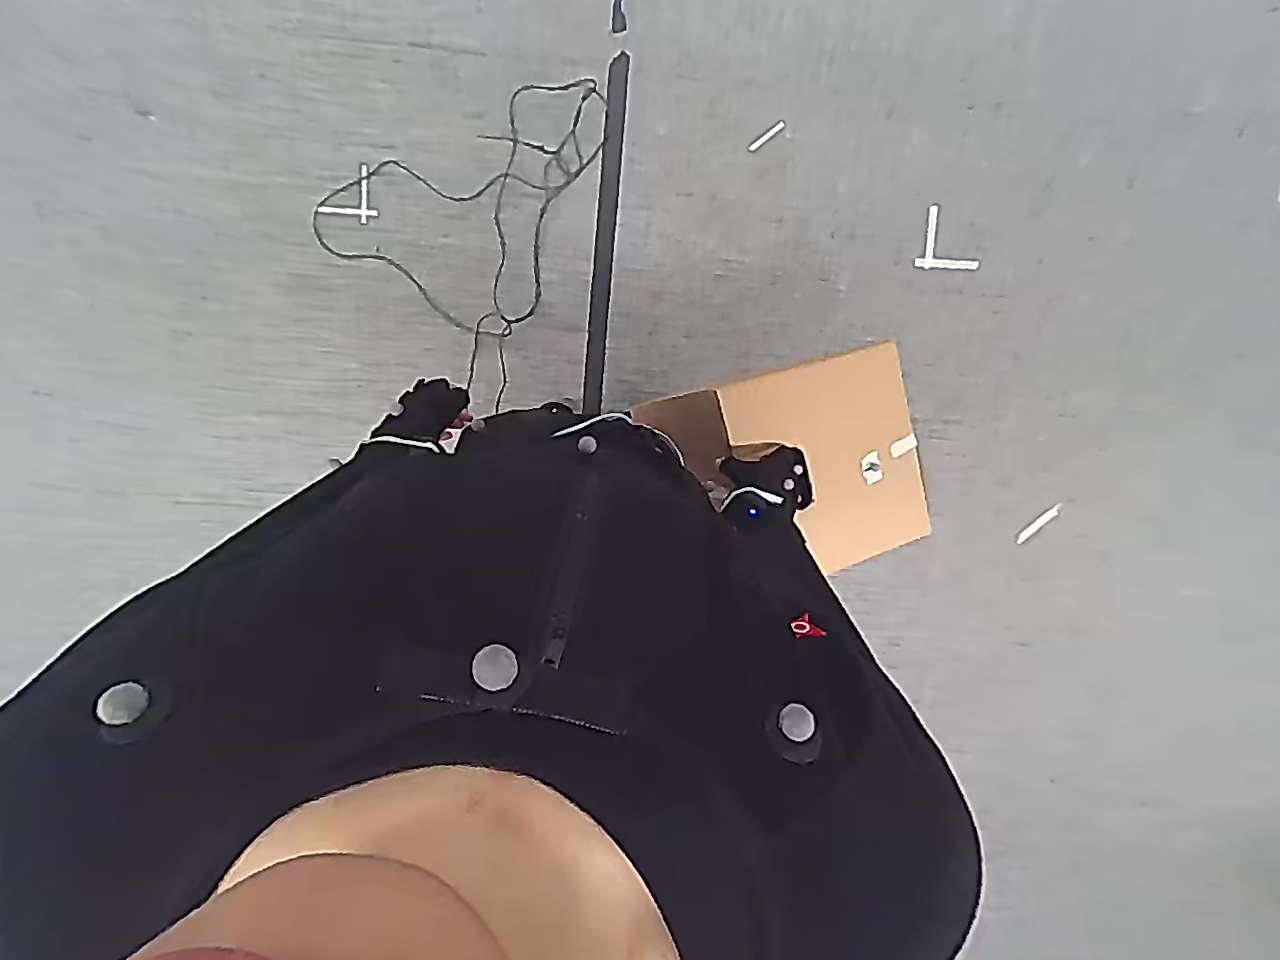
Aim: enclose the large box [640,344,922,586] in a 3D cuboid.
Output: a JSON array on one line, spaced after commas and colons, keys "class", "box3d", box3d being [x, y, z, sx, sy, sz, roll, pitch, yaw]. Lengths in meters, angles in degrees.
[{"class": "large box", "box3d": [0.230, -0.037, 1.002, 0.320, 0.408, 0.320, -15, 98, -14]}]
